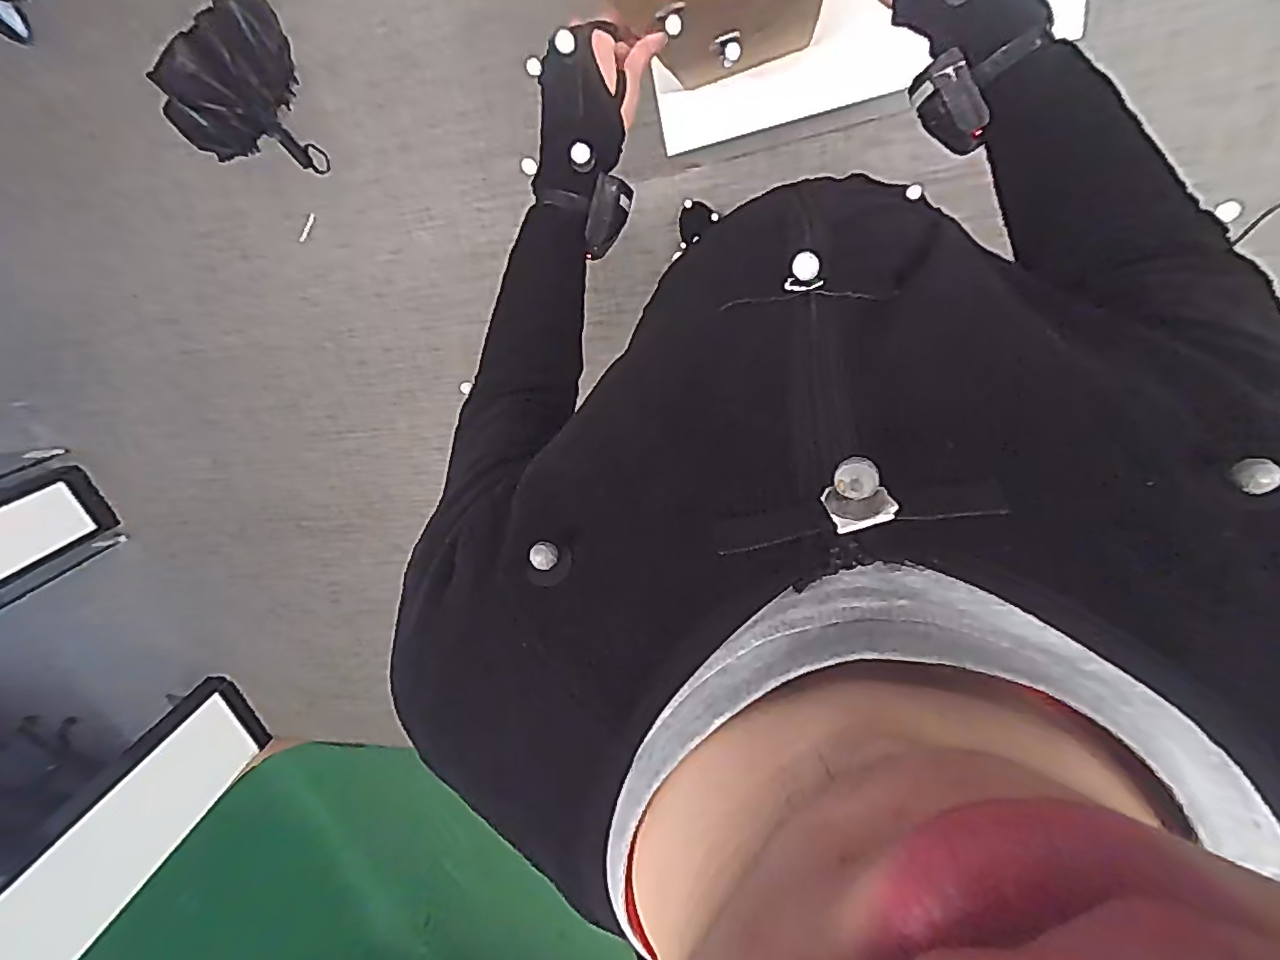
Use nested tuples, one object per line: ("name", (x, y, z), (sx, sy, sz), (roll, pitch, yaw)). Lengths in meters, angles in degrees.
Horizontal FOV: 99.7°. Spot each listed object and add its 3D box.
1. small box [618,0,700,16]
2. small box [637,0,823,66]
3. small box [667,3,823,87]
("small box", (0.033, -0.426, 0.328), (0.168, 0.176, 0.179), (-10, 114, 19))
("small box", (0.071, -0.503, 0.469), (0.168, 0.176, 0.179), (-10, 116, 20))
("small box", (0.105, -0.581, 0.607), (0.168, 0.176, 0.179), (-8, 116, 18))
